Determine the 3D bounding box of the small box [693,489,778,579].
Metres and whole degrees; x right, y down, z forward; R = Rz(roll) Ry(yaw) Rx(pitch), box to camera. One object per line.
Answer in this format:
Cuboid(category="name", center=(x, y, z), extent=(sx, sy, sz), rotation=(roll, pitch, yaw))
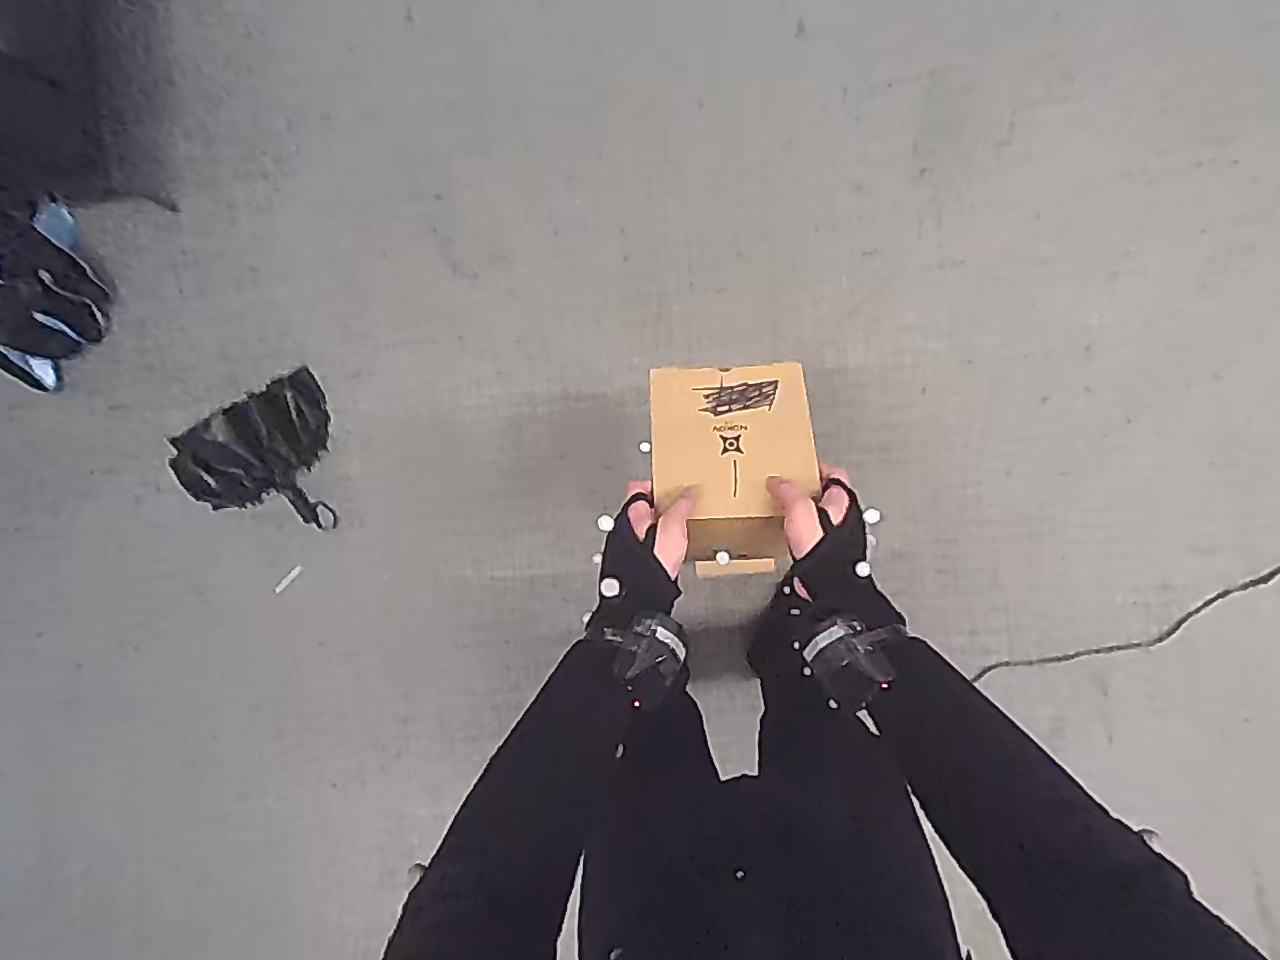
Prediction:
Cuboid(category="small box", center=(0.207, 0.114, 1.207), extent=(0.168, 0.176, 0.179), rotation=(-6, 92, 7))
